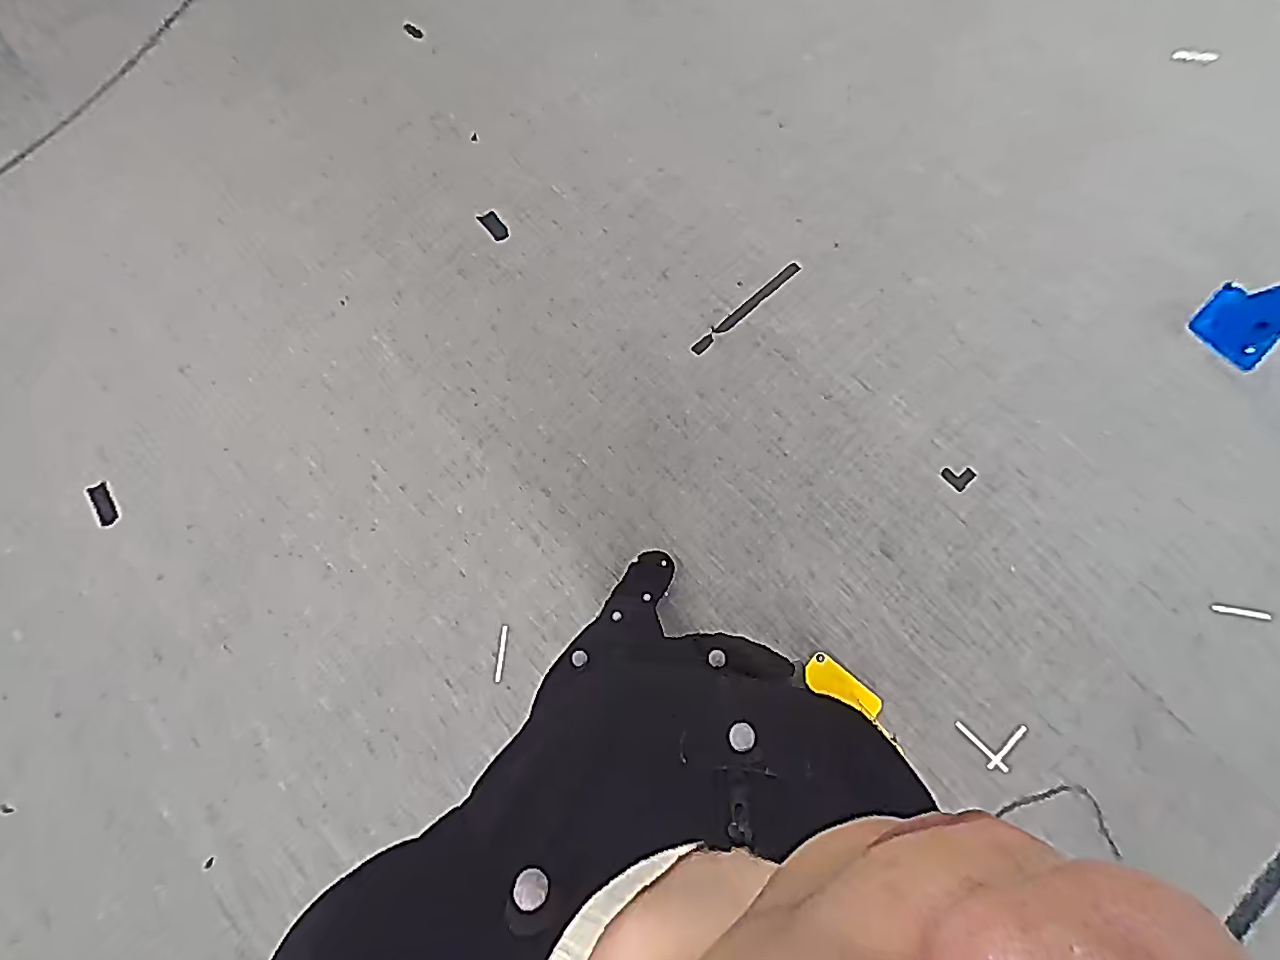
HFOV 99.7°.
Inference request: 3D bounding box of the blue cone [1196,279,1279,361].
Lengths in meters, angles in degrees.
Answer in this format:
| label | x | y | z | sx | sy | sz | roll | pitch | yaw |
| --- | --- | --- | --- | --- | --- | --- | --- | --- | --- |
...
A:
| label | x | y | z | sx | sy | sz | roll | pitch | yaw |
| --- | --- | --- | --- | --- | --- | --- | --- | --- | --- |
| blue cone | 1.630 | -0.464 | 1.304 | 0.193 | 0.380 | 0.192 | -42 | 81 | -6 |
